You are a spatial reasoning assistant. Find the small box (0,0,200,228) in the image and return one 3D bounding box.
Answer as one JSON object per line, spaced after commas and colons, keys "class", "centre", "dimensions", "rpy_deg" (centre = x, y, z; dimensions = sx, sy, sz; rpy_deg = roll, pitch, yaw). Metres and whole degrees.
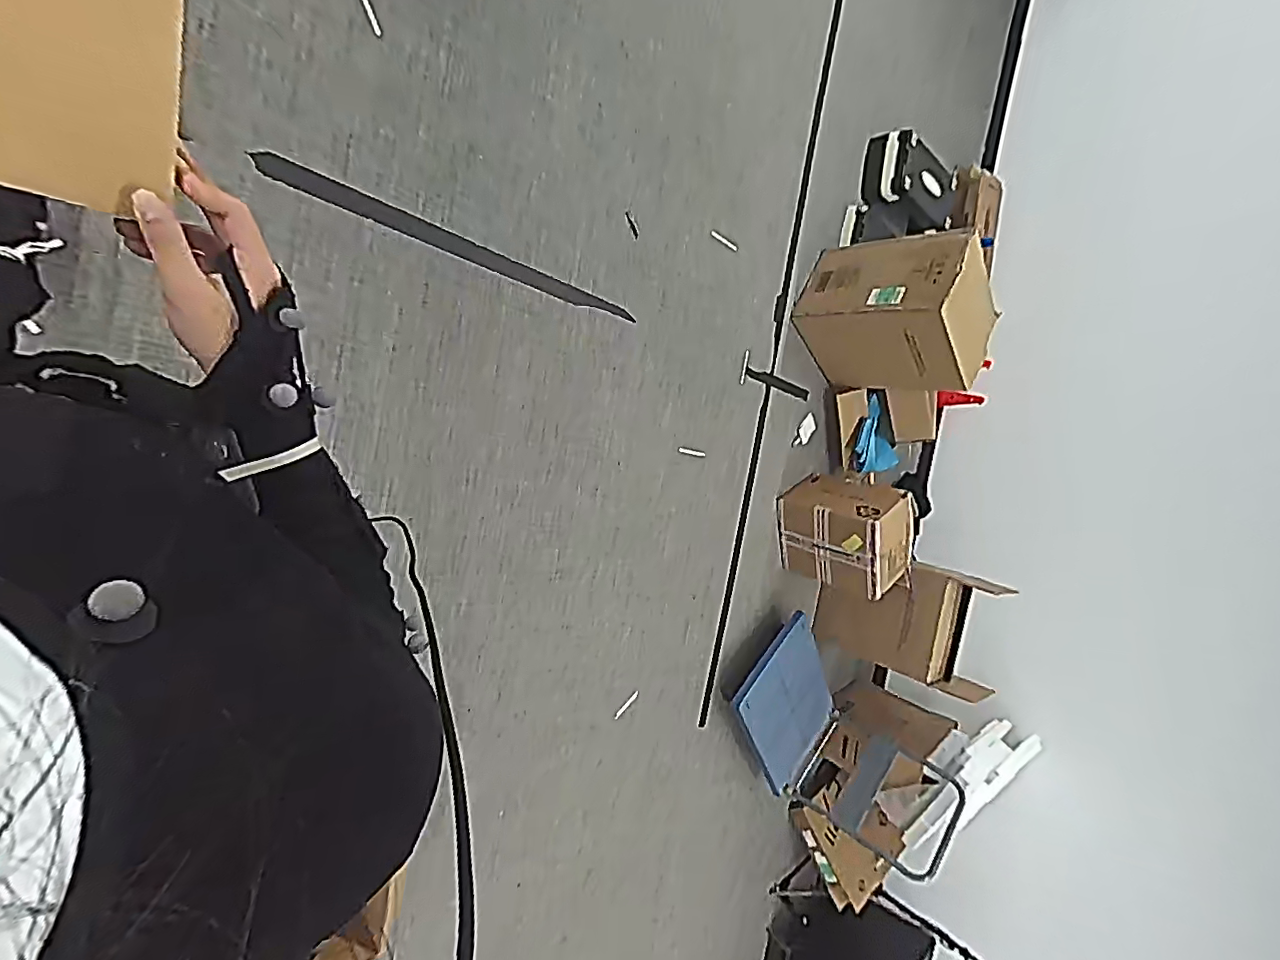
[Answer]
{"class": "small box", "centre": [-0.362, -0.259, 0.291], "dimensions": [0.179, 0.176, 0.168], "rpy_deg": [2, 113, -45]}
